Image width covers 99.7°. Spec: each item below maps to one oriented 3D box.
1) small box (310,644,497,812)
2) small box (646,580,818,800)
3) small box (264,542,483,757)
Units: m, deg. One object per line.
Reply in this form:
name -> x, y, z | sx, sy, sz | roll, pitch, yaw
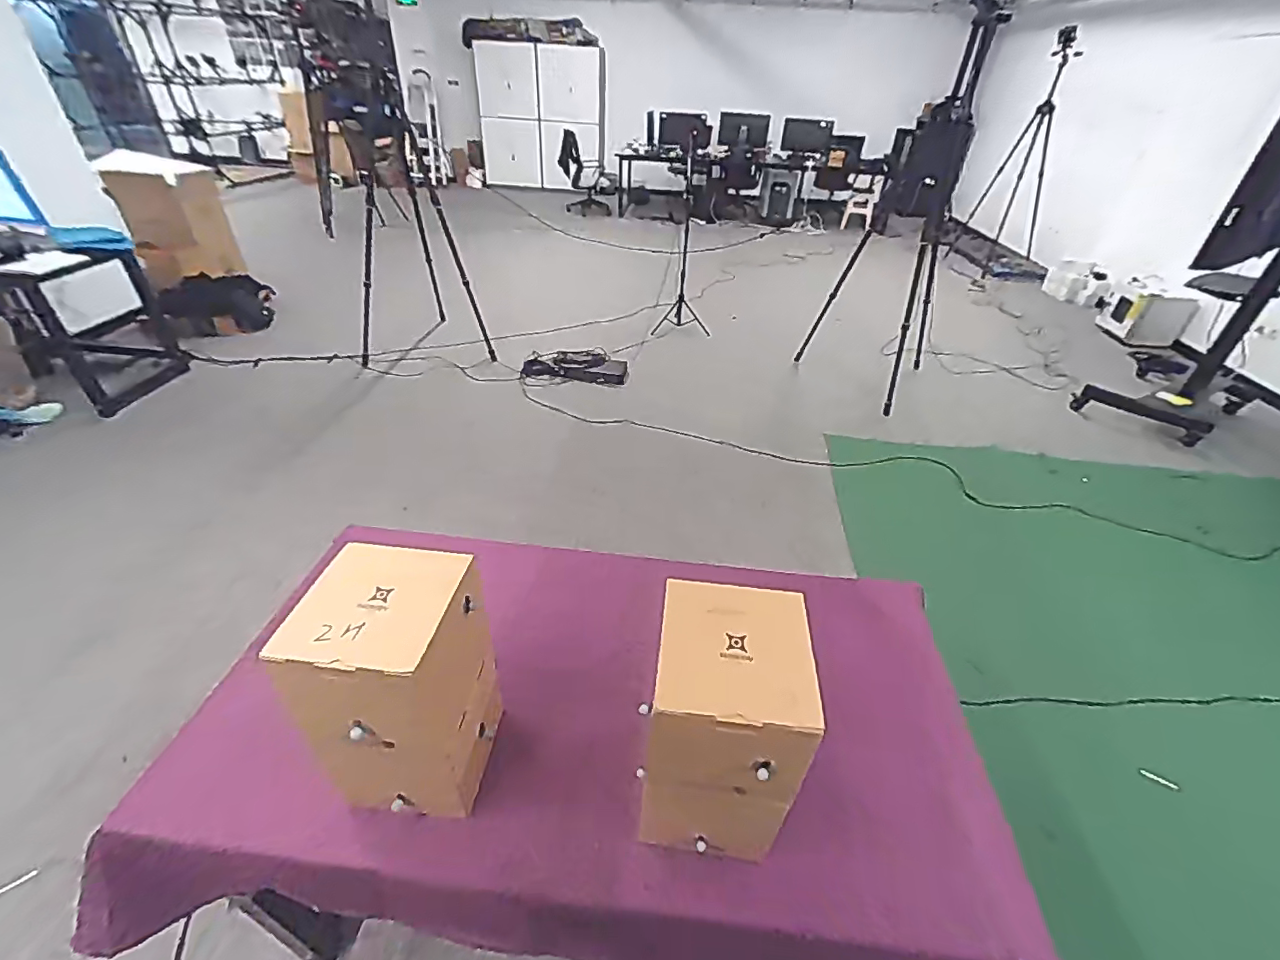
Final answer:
small box -> -0.309, 0.338, 0.756 | 0.179, 0.176, 0.168 | 5, 36, 2
small box -> 0.099, 0.246, 0.636 | 0.168, 0.176, 0.179 | 6, 37, 3
small box -> -0.301, 0.202, 0.661 | 0.168, 0.176, 0.179 | 6, 37, 4
